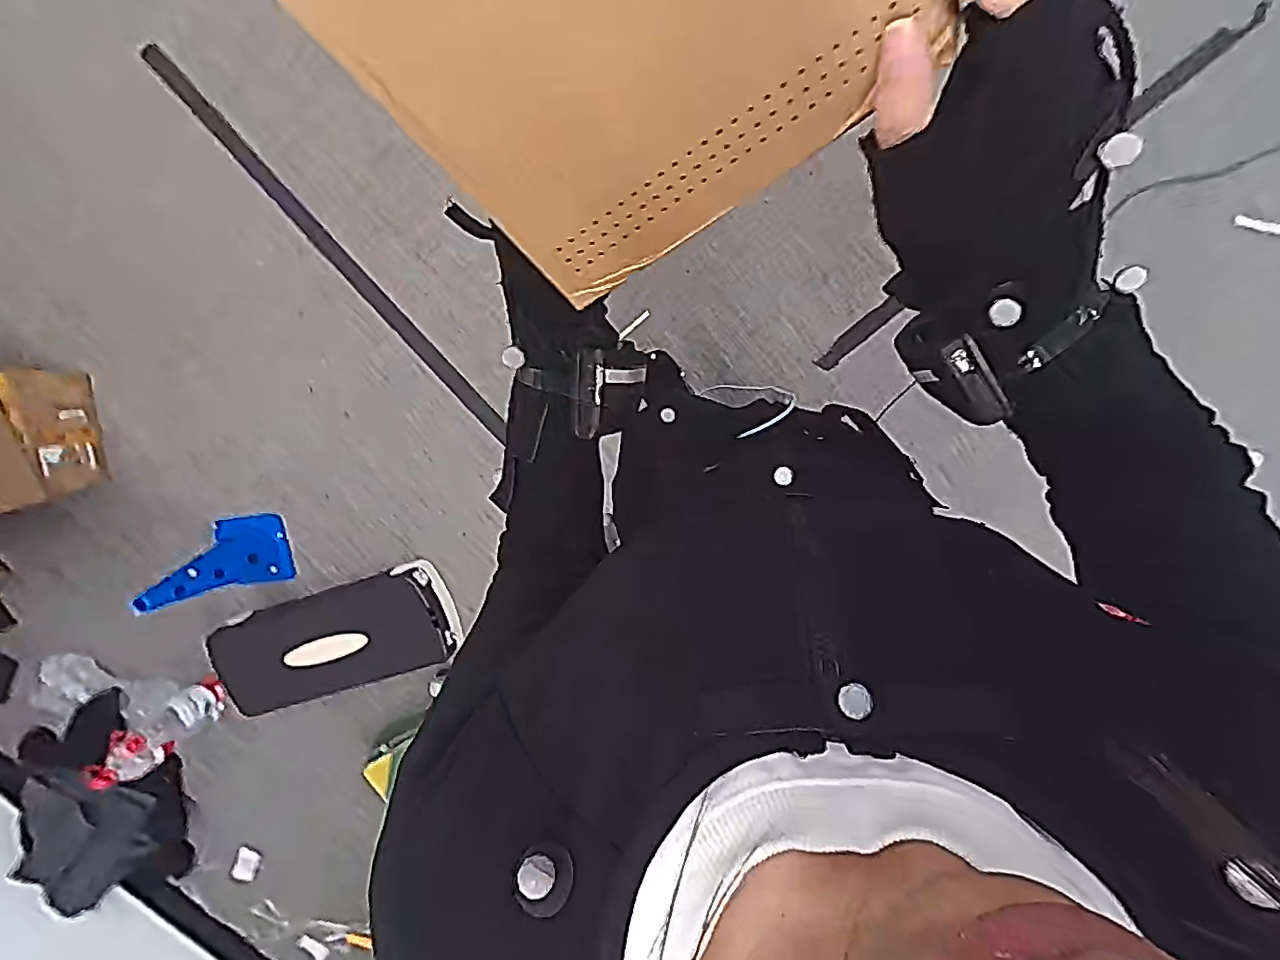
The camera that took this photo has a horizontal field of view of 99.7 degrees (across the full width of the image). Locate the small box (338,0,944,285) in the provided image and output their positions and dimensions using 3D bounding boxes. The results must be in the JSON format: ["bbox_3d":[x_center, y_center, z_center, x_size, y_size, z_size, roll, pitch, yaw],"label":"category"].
[{"bbox_3d":[-0.004,-0.220,0.223,0.179,0.168,0.176,-26,145,21],"label":"small box"}]
